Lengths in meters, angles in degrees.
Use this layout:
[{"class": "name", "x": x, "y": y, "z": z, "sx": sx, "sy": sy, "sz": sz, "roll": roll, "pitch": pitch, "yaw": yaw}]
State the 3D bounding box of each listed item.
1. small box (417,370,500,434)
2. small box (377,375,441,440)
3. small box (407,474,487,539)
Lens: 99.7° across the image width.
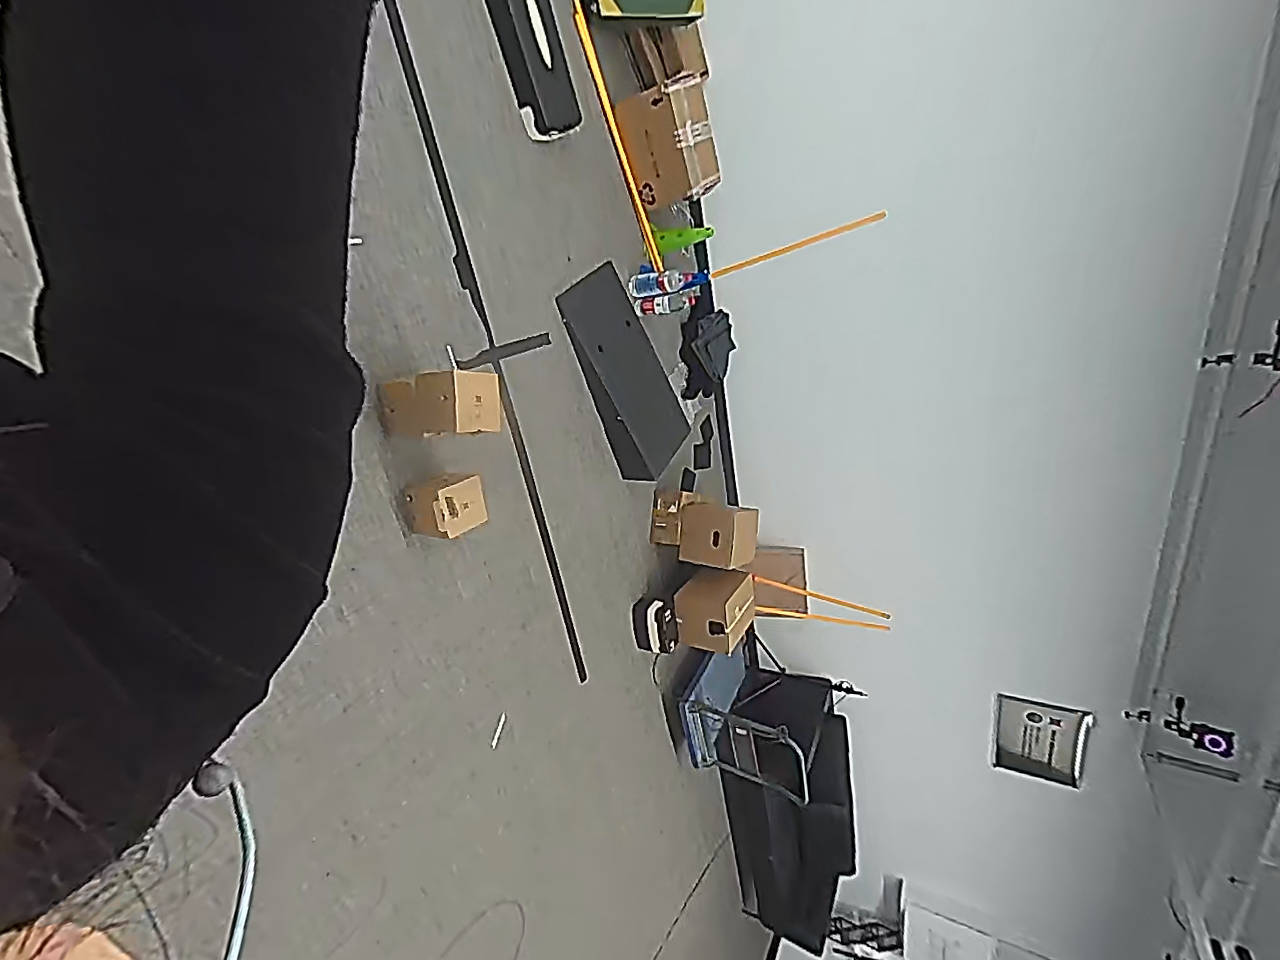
[{"class": "small box", "x": -0.538, "y": -0.225, "z": 1.596, "sx": 0.168, "sy": 0.176, "sz": 0.179, "roll": -11, "pitch": 102, "yaw": -57}, {"class": "small box", "x": -0.680, "y": -0.231, "z": 1.679, "sx": 0.168, "sy": 0.176, "sz": 0.179, "roll": -32, "pitch": 121, "yaw": -54}, {"class": "small box", "x": -0.639, "y": 0.083, "z": 1.779, "sx": 0.179, "sy": 0.176, "sz": 0.168, "roll": -32, "pitch": 120, "yaw": -55}]
